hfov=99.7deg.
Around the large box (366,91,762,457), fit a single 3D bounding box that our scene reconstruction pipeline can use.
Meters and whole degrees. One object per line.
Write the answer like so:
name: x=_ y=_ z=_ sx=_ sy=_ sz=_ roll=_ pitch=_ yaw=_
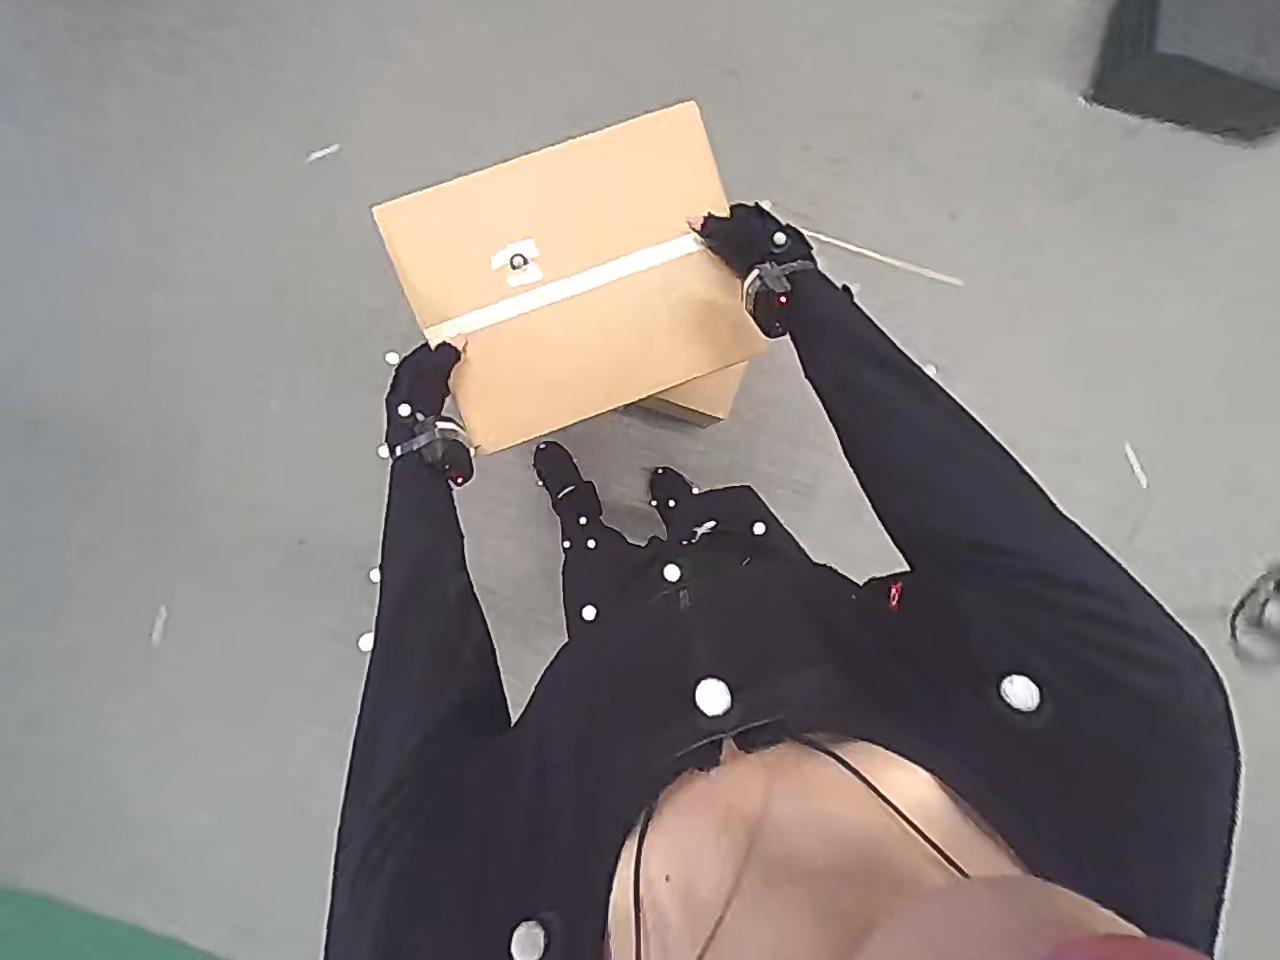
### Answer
large box: x=-0.093 y=-0.271 z=0.796 sx=0.408 sy=0.320 sz=0.320 roll=-22 pitch=102 yaw=-2
